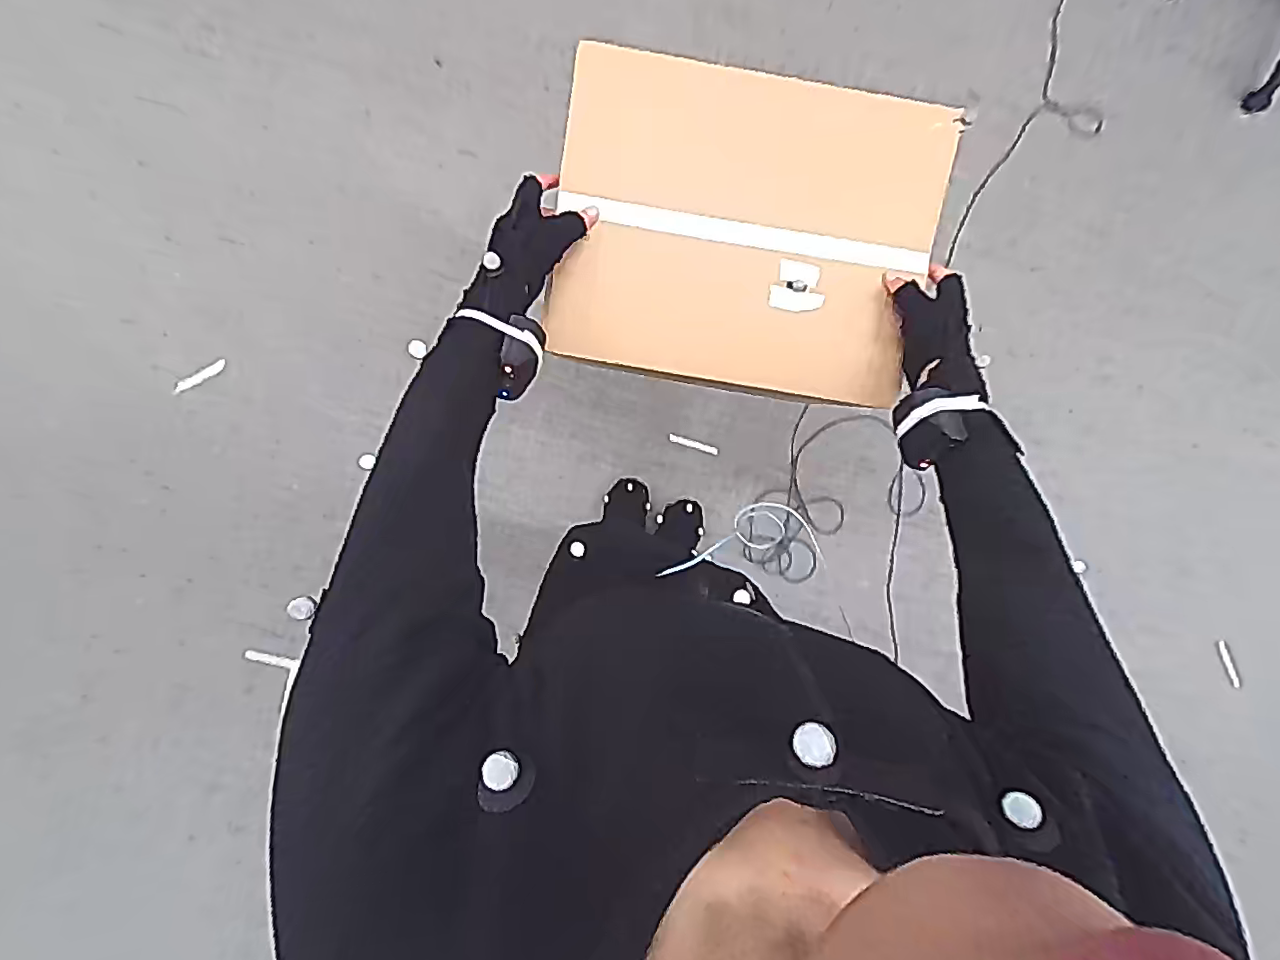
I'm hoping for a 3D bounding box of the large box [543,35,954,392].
[{"bbox_3d":[0.106,-0.301,0.725,0.408,0.320,0.320,9,101,-2],"label":"large box"}]
